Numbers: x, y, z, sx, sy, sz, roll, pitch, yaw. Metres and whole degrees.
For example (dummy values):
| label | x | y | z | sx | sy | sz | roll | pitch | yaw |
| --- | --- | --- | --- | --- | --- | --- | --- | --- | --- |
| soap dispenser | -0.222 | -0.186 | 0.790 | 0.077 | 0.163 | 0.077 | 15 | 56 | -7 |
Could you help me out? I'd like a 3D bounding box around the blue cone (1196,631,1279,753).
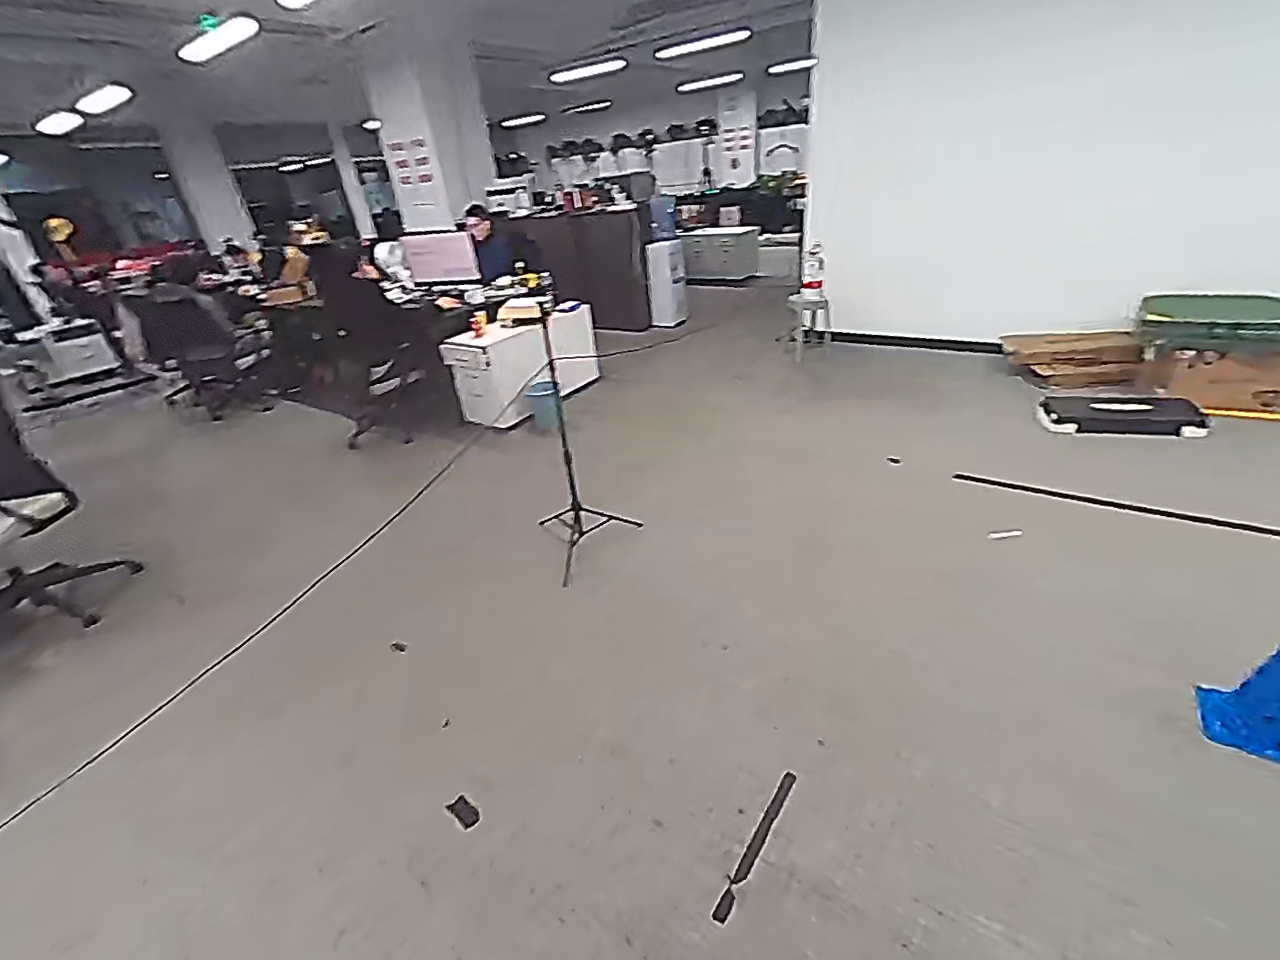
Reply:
| label | x | y | z | sx | sy | sz | roll | pitch | yaw |
| --- | --- | --- | --- | --- | --- | --- | --- | --- | --- |
| blue cone | 1.576 | 0.483 | 1.335 | 0.192 | 0.380 | 0.193 | 14 | 36 | 34 |
